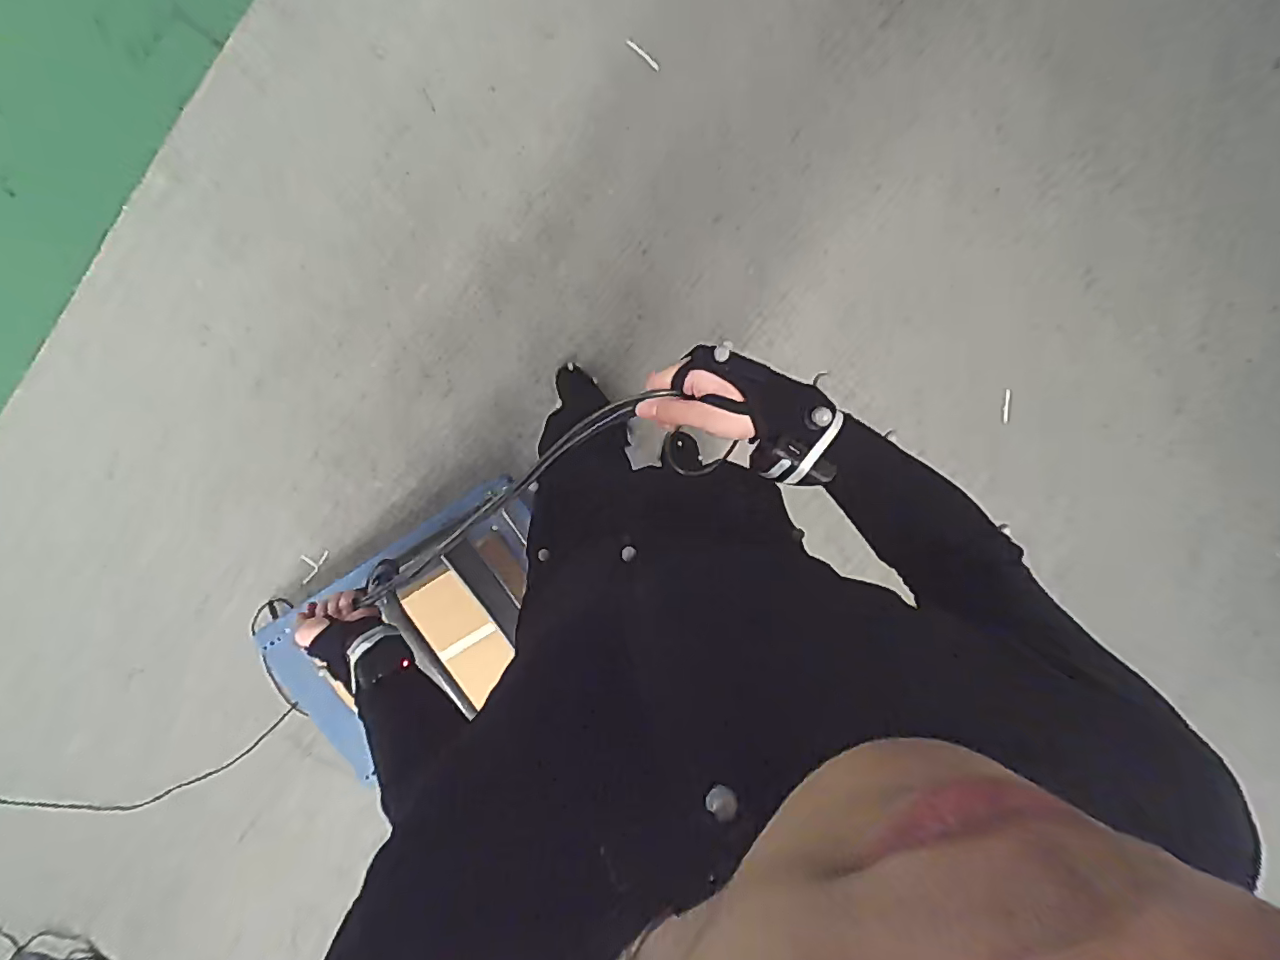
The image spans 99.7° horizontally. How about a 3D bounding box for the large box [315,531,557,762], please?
[{"bbox_3d":[-0.470,0.386,1.337,0.408,0.320,0.320,-32,97,6],"label":"large box"}]
